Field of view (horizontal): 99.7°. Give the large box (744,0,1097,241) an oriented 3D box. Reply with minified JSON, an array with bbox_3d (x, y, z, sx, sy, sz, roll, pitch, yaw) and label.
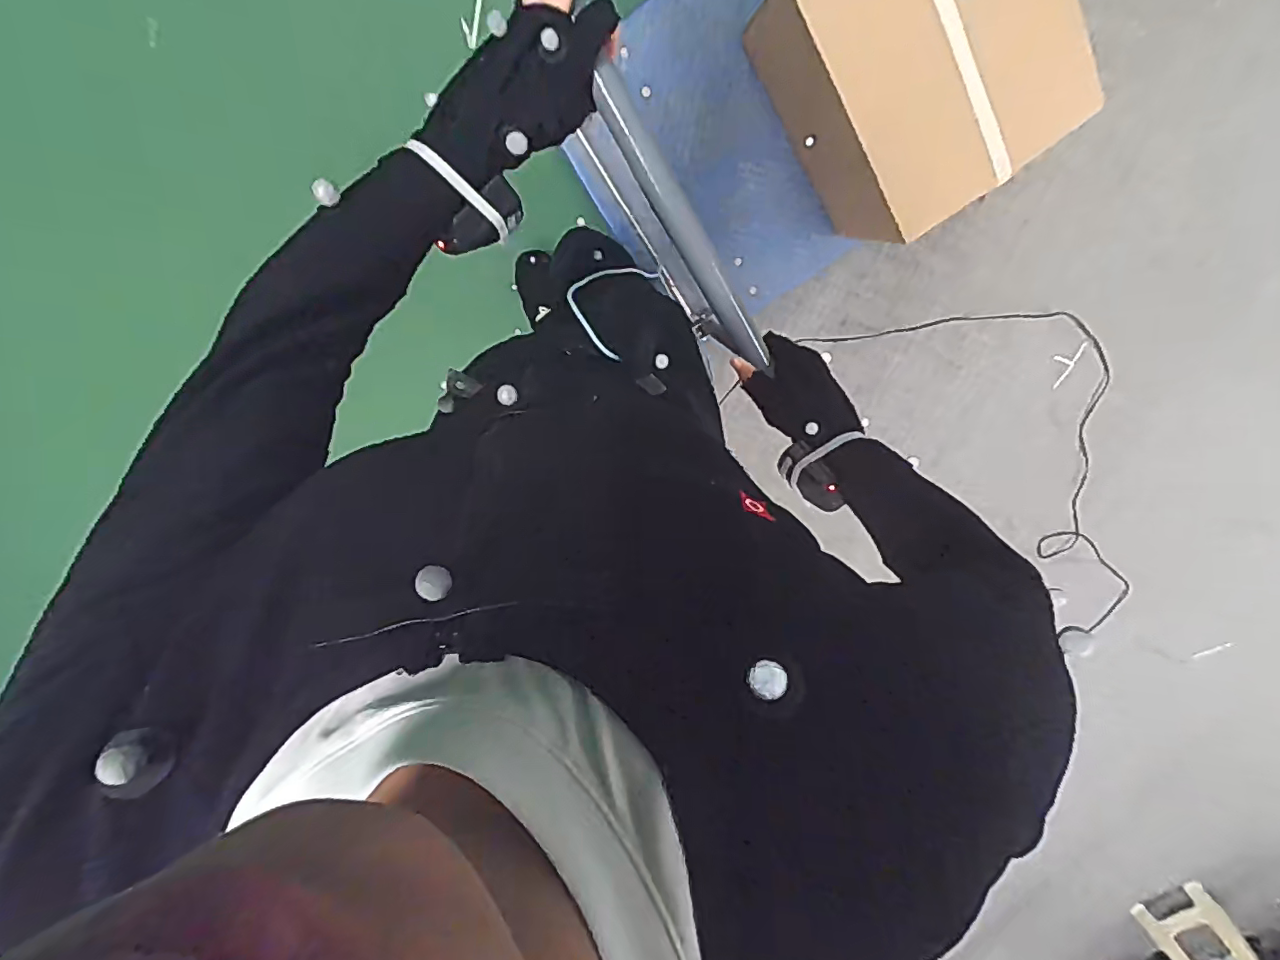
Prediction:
[{"bbox_3d":[0.420,-0.662,0.876,0.320,0.320,0.408,-33,112,14],"label":"large box"}]
